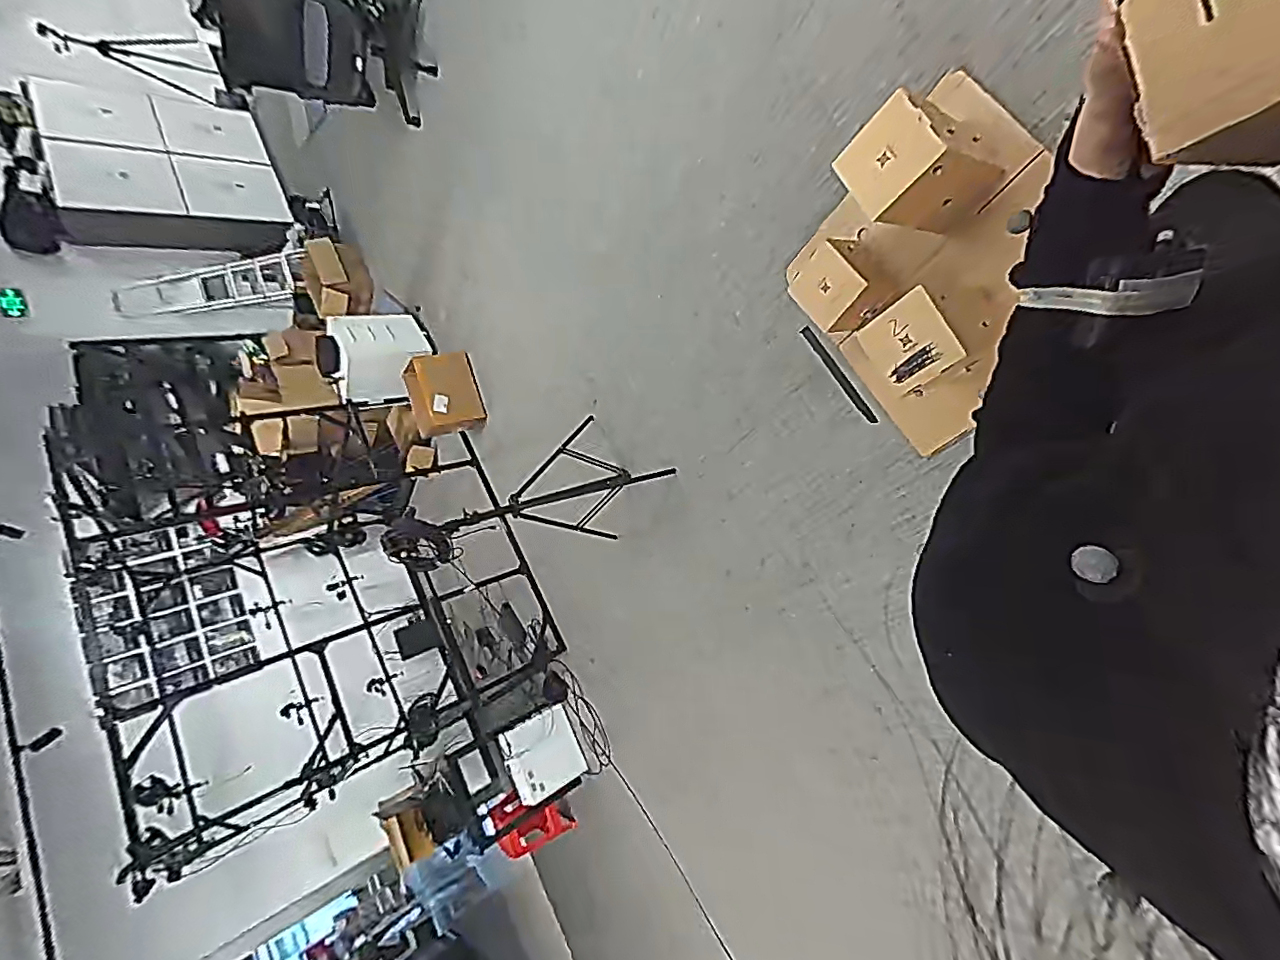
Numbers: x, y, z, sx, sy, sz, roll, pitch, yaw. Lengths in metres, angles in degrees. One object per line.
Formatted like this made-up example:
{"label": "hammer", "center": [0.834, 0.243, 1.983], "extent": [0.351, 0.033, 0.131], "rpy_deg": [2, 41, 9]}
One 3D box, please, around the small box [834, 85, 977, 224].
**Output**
{"label": "small box", "center": [0.550, -0.659, 1.121], "extent": [0.179, 0.176, 0.168], "rpy_deg": [-41, 70, 48]}

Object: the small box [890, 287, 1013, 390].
{"label": "small box", "center": [0.736, -0.337, 1.273], "extent": [0.168, 0.176, 0.179], "rpy_deg": [-34, 78, 50]}

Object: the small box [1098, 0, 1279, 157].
{"label": "small box", "center": [0.325, -0.256, 0.215], "extent": [0.179, 0.176, 0.168], "rpy_deg": [-12, 93, 64]}

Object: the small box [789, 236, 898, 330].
{"label": "small box", "center": [0.543, -0.520, 1.444], "extent": [0.179, 0.176, 0.168], "rpy_deg": [58, 140, 20]}
